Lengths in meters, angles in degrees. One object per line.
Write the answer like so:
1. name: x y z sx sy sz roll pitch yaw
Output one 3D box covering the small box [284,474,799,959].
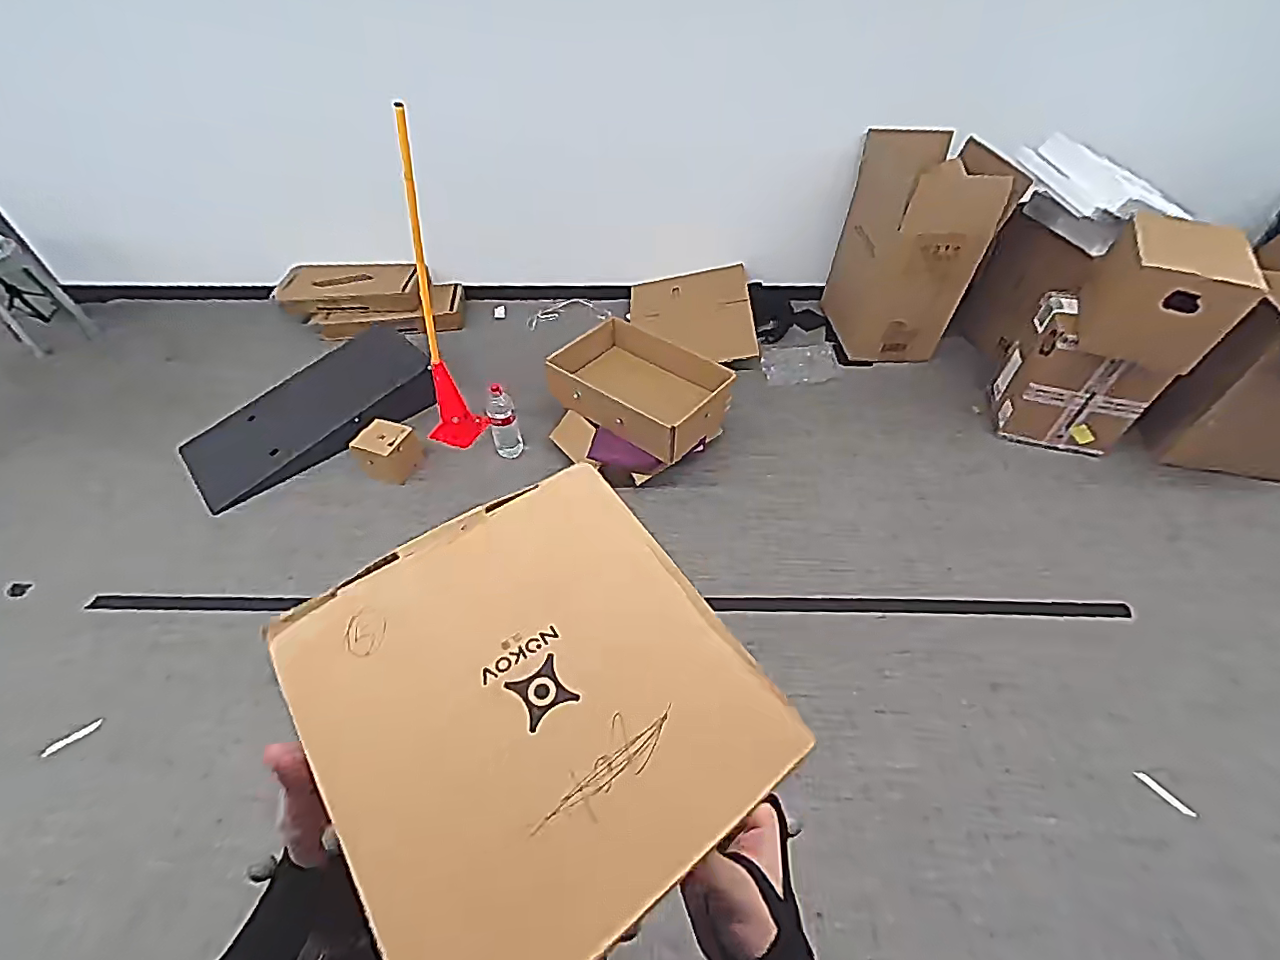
1. small box: -0.053 0.136 0.302 0.168 0.176 0.179 -30 64 -25
